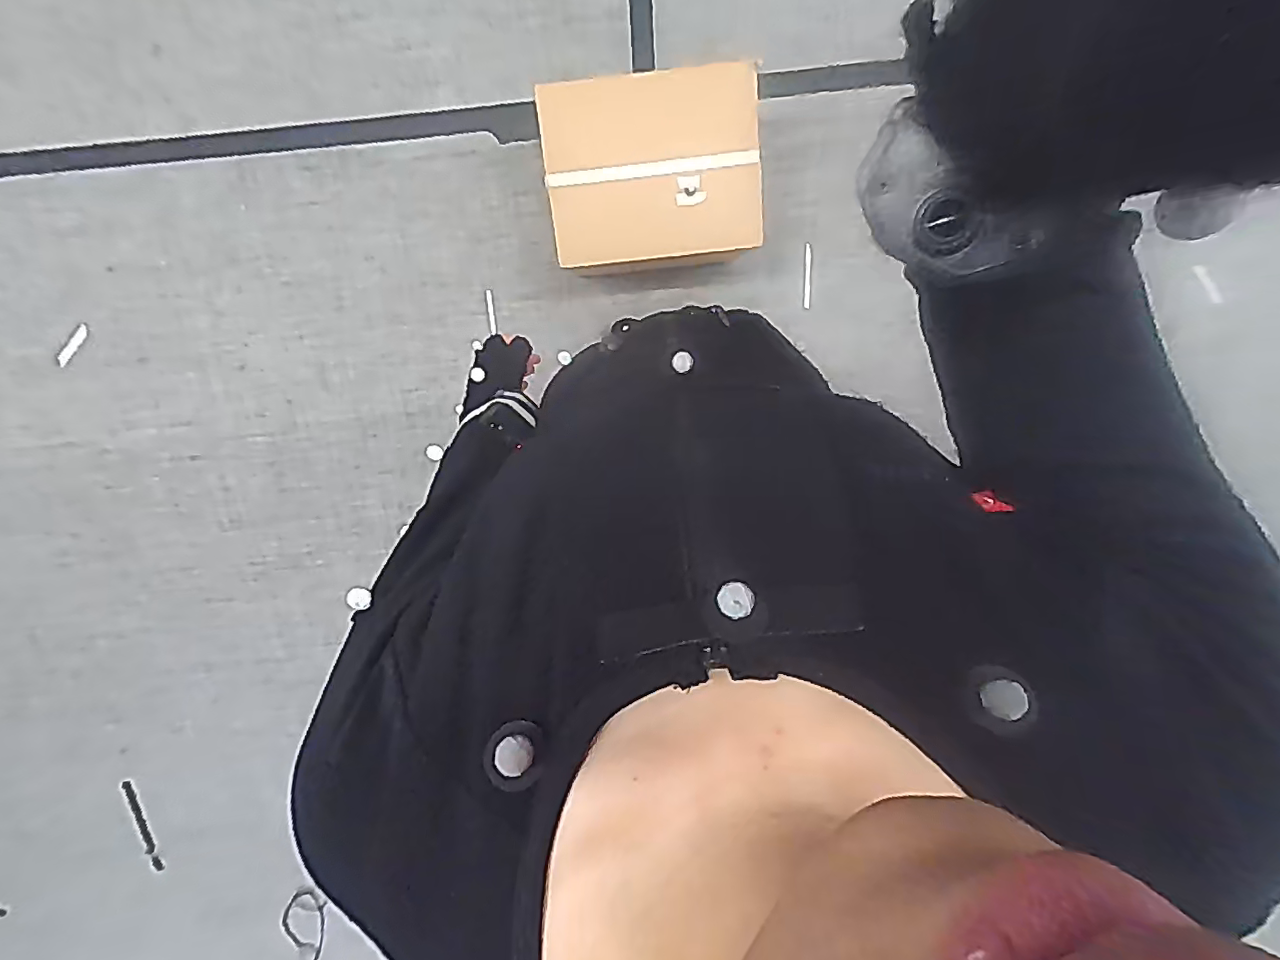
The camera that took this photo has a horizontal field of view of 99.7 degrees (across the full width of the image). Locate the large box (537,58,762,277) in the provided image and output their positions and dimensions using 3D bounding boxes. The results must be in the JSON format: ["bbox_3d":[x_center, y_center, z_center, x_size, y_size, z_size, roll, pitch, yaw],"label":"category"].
[{"bbox_3d":[0.020,-0.632,1.158,0.408,0.320,0.320,-7,108,0],"label":"large box"}]
